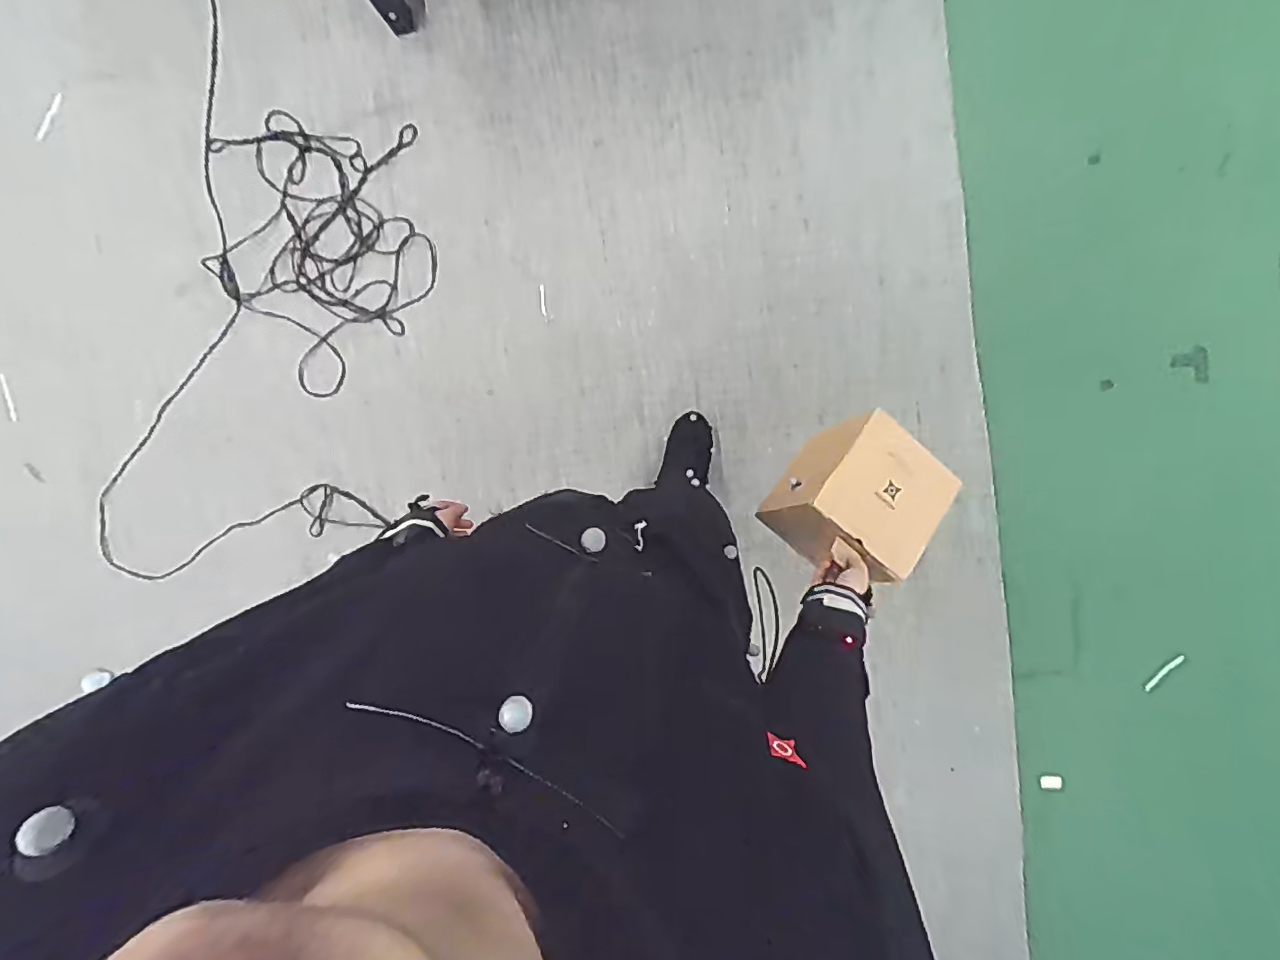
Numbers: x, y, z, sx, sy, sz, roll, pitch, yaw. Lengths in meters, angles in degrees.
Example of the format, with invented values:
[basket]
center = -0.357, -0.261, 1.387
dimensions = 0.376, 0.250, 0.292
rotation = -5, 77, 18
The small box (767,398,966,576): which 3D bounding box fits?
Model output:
[small box]
center = 0.309, 0.018, 0.774
dimensions = 0.168, 0.176, 0.179
rotation = 40, 74, -7
